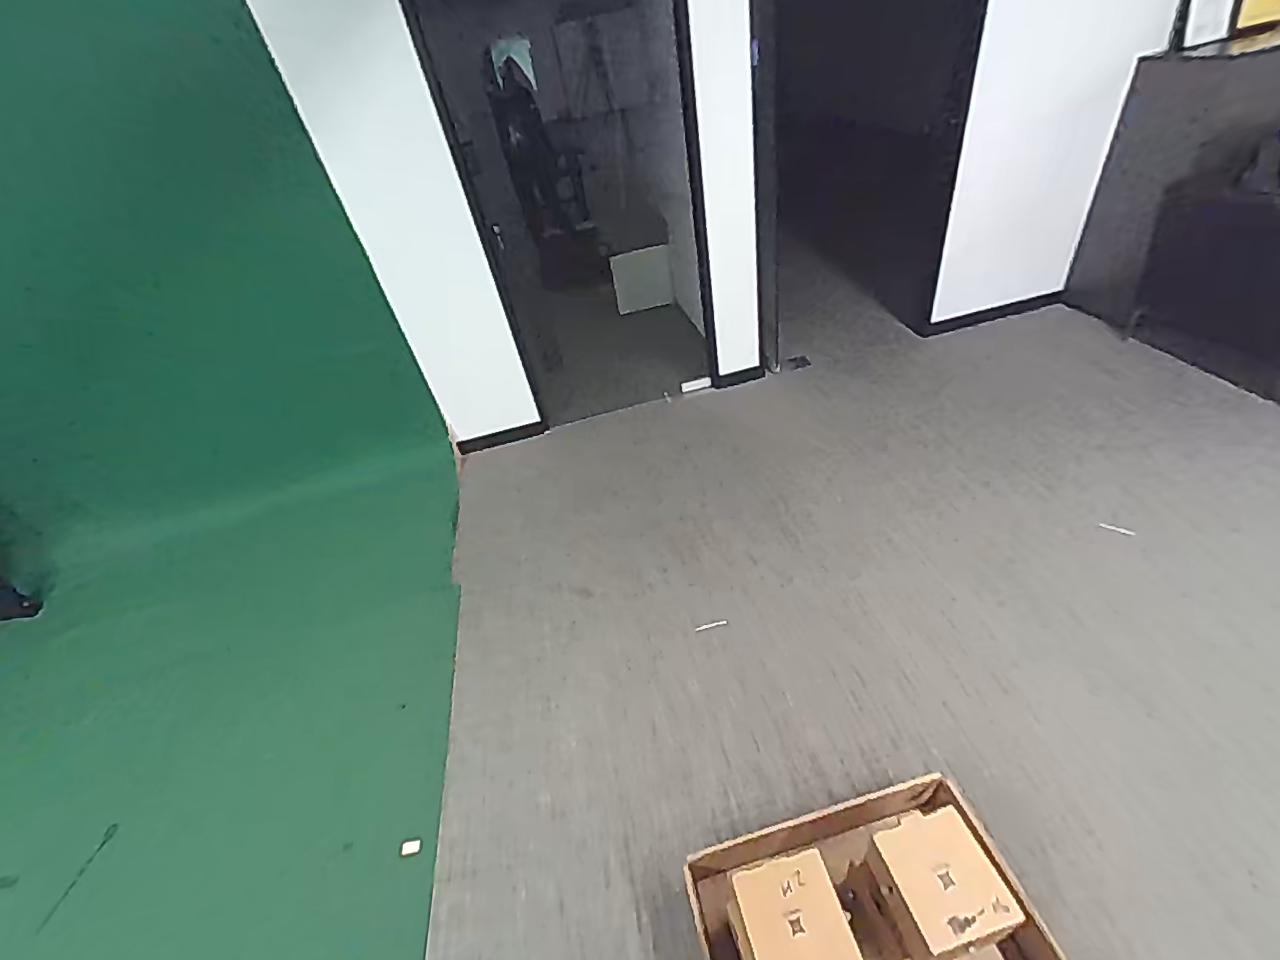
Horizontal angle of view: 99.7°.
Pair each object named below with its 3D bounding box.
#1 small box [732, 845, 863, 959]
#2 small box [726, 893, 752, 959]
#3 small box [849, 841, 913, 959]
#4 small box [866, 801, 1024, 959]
[{"bbox_3d":[0.271,0.788,0.956,0.168,0.176,0.179,-14,41,-4],"label":"small box"},{"bbox_3d":[0.285,0.908,1.067,0.179,0.176,0.168,-16,41,-7],"label":"small box"},{"bbox_3d":[0.543,0.831,1.091,0.179,0.176,0.168,-17,41,-8],"label":"small box"},{"bbox_3d":[0.528,0.722,0.969,0.168,0.176,0.179,-16,40,-4],"label":"small box"}]
